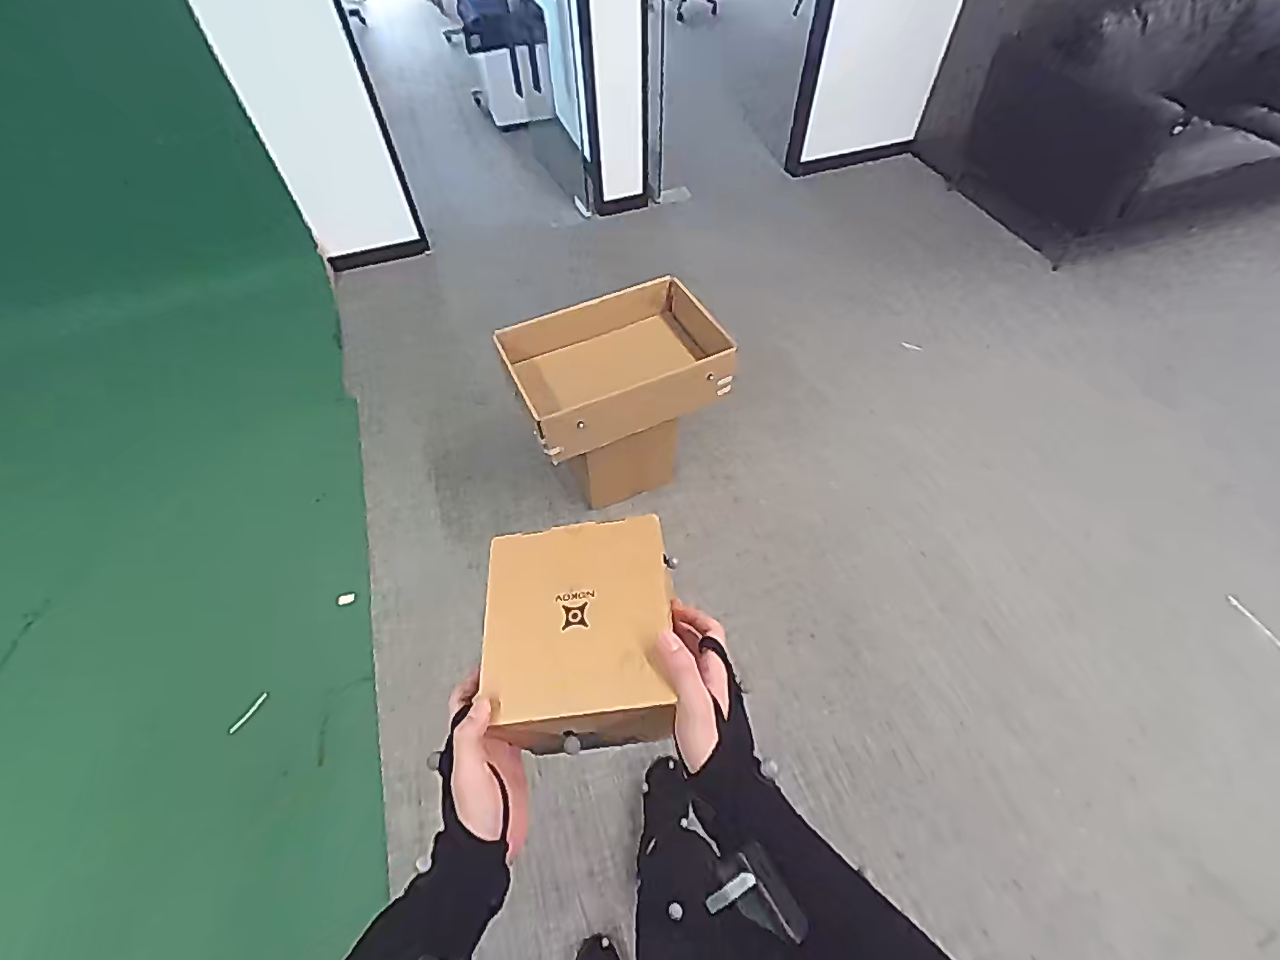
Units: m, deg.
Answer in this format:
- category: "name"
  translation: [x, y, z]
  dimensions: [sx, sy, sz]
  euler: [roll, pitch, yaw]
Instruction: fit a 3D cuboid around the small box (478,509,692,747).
- category: "small box"
  translation: [-0.043, 0.153, 0.532]
  dimensions: [0.168, 0.176, 0.179]
  euler: [-8, 54, 3]
